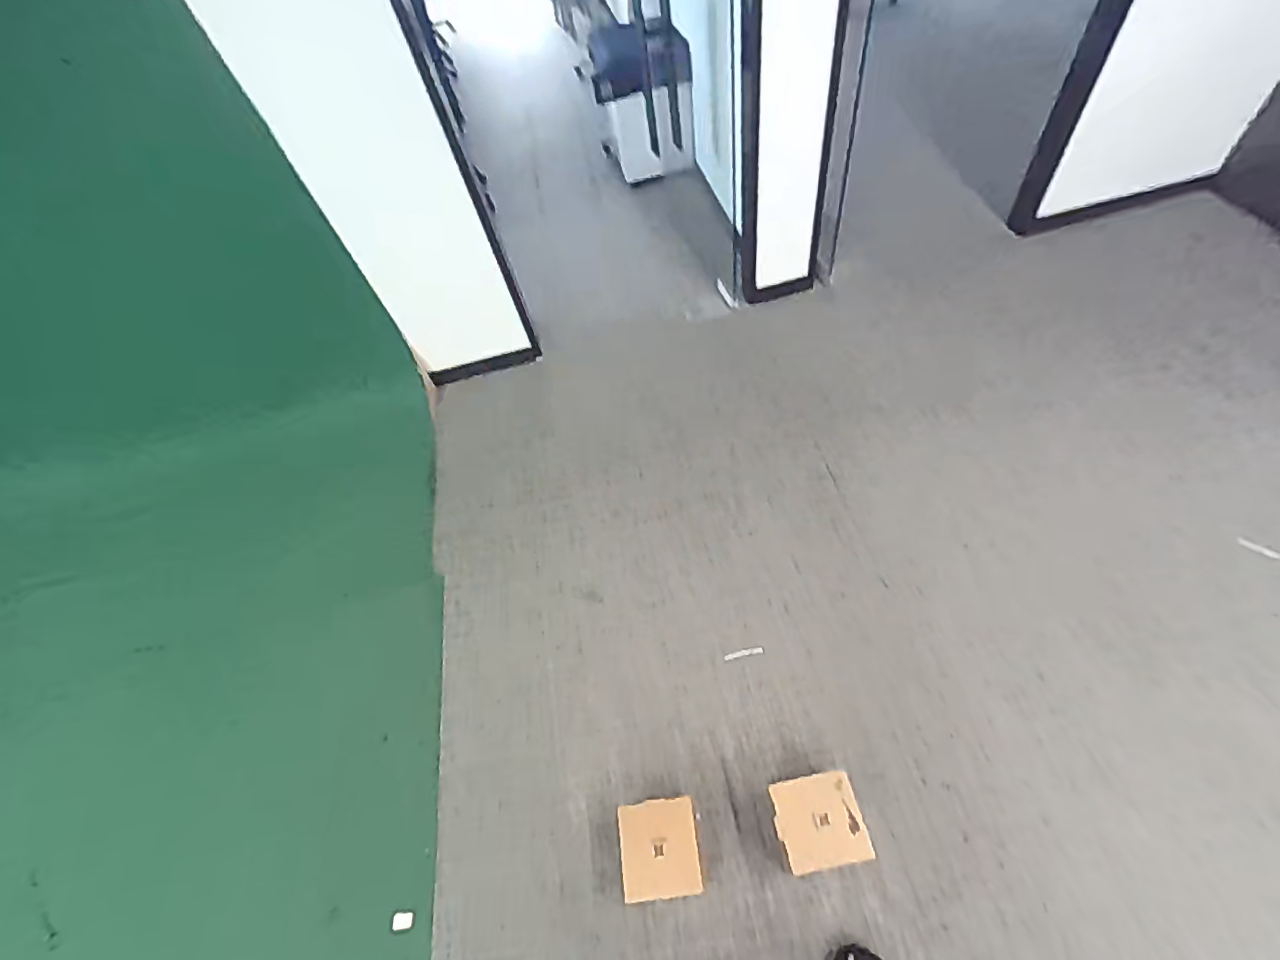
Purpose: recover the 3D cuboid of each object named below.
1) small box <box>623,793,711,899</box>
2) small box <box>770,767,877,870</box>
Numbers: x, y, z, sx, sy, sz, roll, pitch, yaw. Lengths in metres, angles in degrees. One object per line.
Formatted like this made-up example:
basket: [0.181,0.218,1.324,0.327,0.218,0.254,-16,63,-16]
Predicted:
small box: [0.062,0.825,1.221,0.168,0.176,0.179,-11,53,4]
small box: [0.397,0.755,1.200,0.179,0.176,0.168,-13,54,3]
